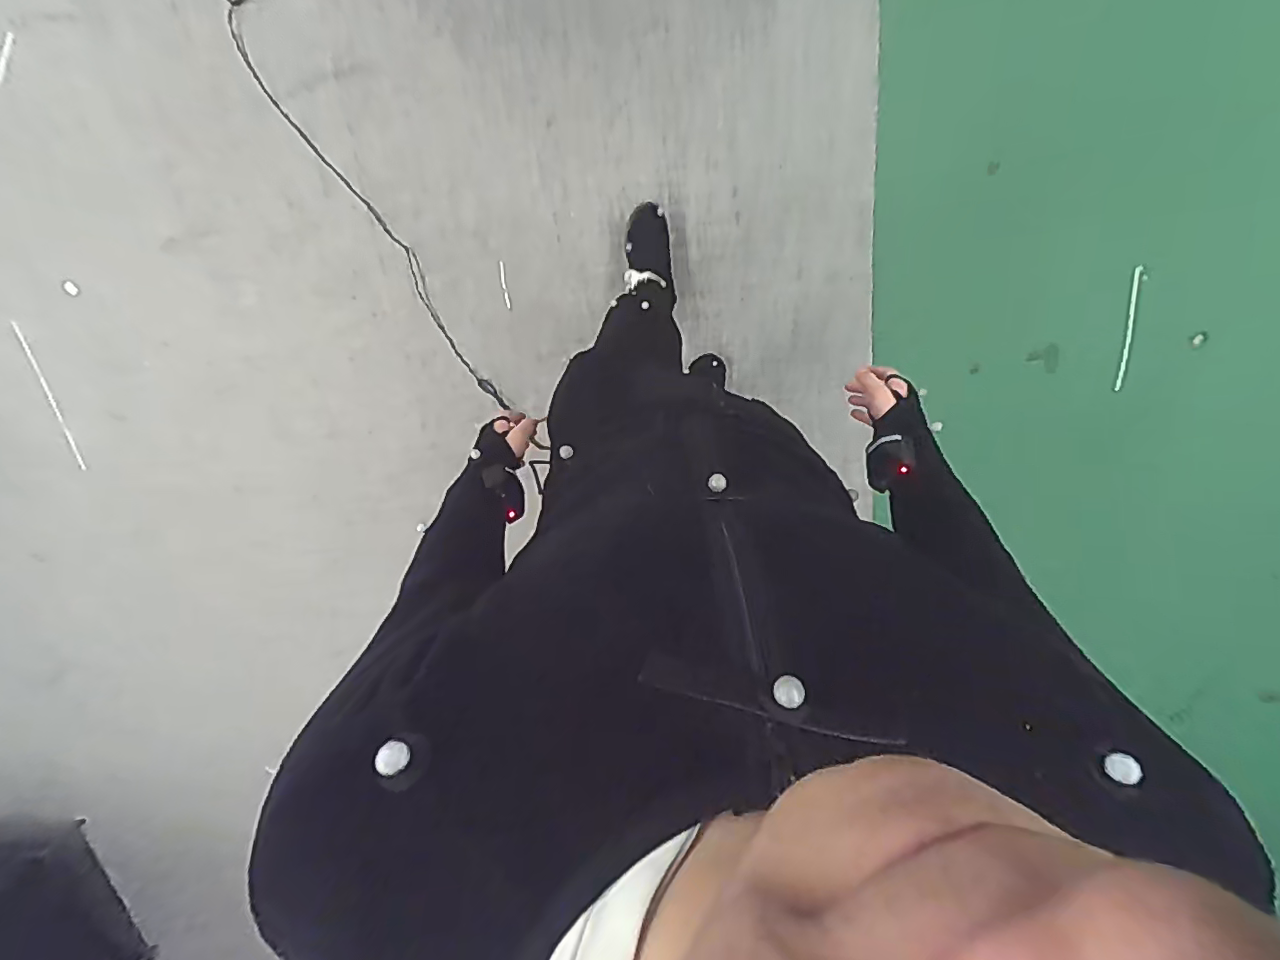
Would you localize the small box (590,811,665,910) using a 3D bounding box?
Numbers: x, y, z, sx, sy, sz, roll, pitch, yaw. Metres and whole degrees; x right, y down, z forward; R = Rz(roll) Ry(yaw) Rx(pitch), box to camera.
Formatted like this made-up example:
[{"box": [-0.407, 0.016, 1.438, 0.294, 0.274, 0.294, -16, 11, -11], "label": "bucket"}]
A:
[{"box": [-0.029, 1.035, 1.475, 0.168, 0.176, 0.179, -11, 108, 7], "label": "small box"}]

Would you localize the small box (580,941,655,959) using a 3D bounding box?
[{"box": [-0.045, 1.146, 1.167, 0.168, 0.176, 0.179, -6, 108, 5], "label": "small box"}]

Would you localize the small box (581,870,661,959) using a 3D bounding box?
[{"box": [-0.040, 1.089, 1.321, 0.168, 0.176, 0.179, -7, 109, 6], "label": "small box"}]
